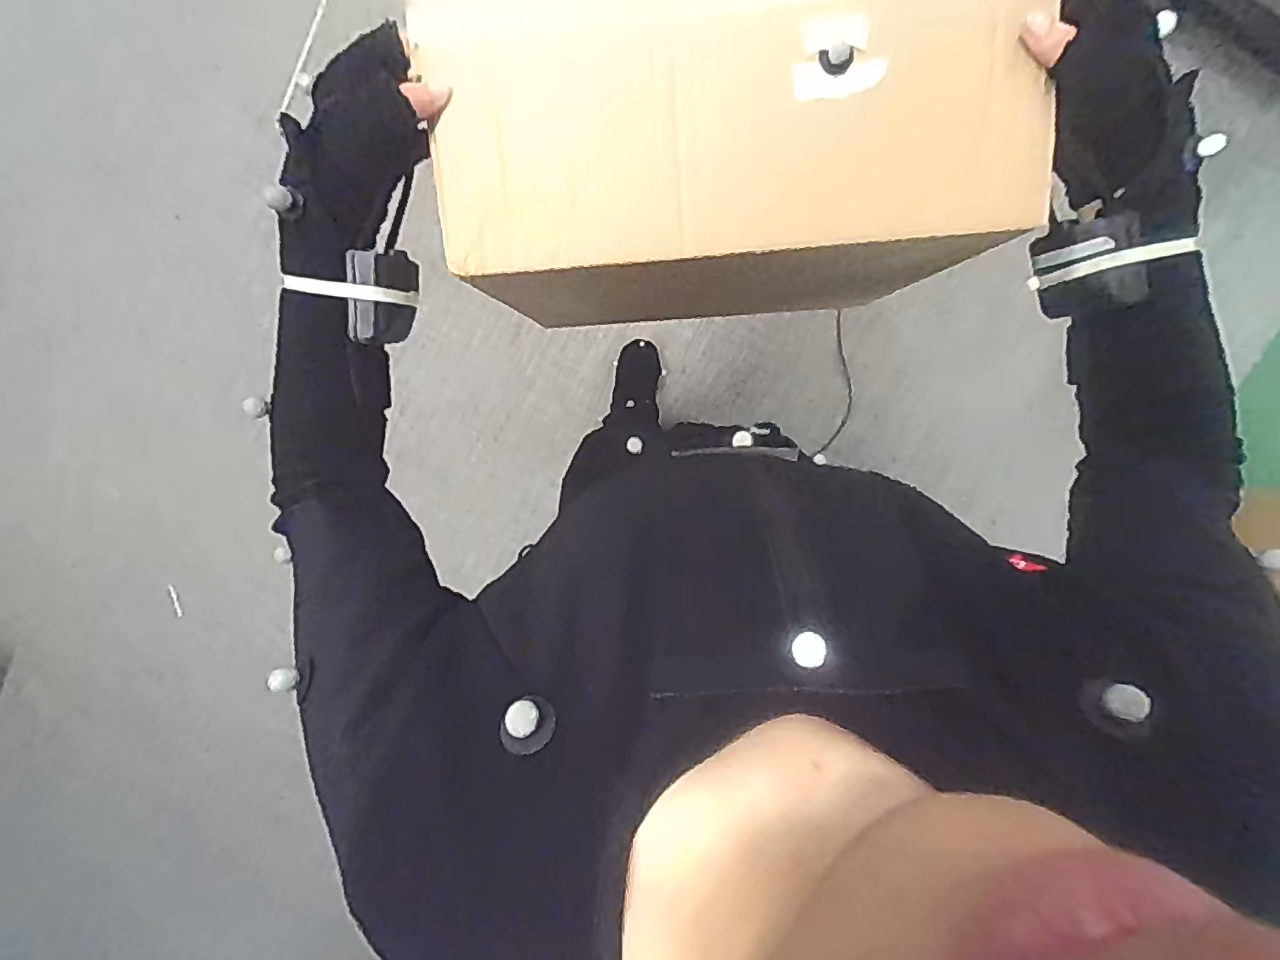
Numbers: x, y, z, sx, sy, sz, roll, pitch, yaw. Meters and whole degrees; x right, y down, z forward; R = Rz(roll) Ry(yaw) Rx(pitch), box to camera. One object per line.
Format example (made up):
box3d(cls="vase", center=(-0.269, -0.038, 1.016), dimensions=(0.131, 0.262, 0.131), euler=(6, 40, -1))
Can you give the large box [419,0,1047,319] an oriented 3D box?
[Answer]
box3d(cls="large box", center=(0.056, -0.339, 0.488), dimensions=(0.408, 0.320, 0.320), euler=(-4, 100, 2))
